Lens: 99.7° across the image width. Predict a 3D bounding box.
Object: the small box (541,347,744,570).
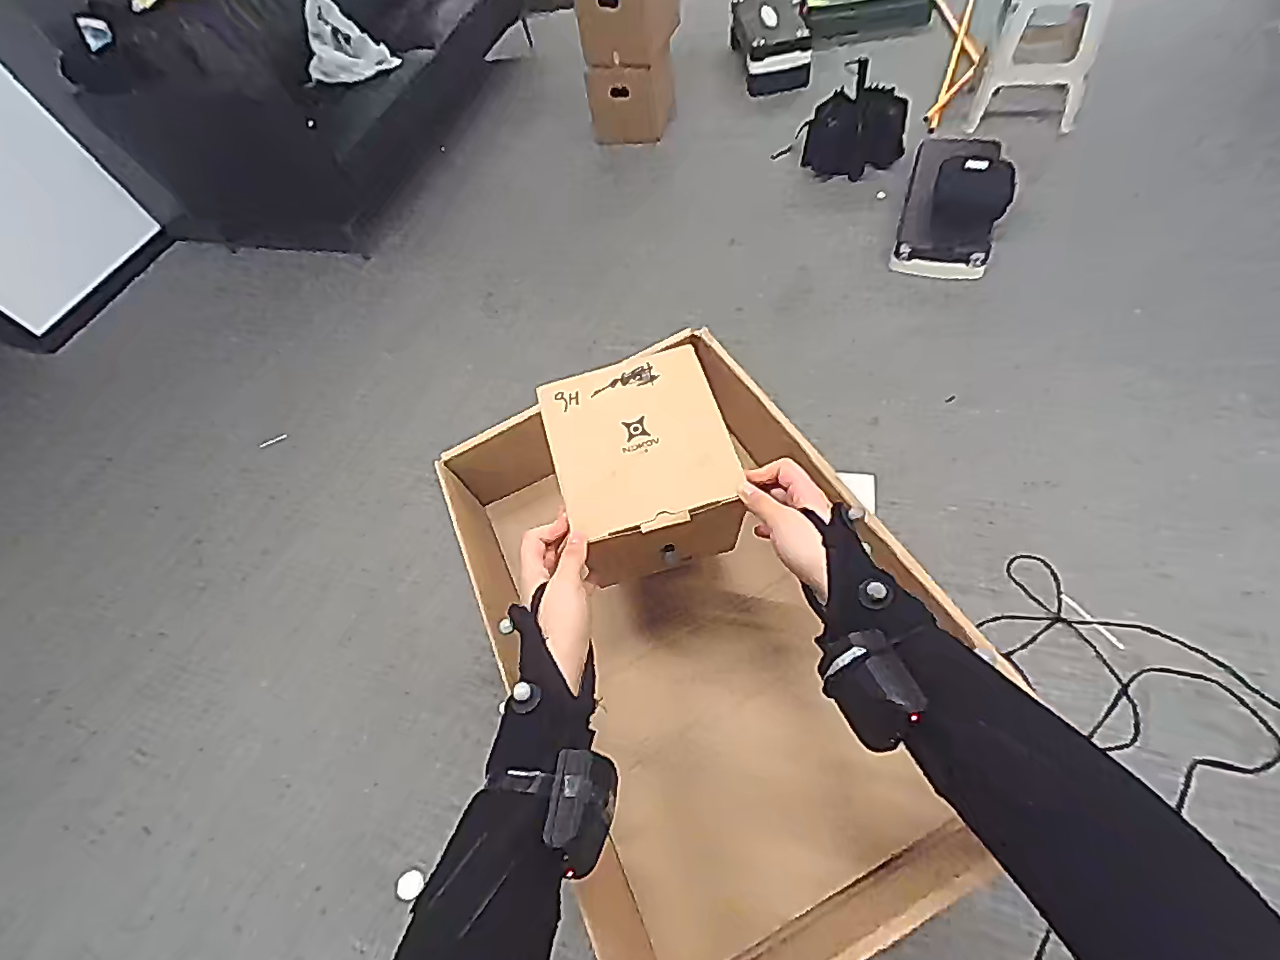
[{"bbox_3d":[0.005,-0.010,0.598,0.168,0.176,0.179,-16,67,-2],"label":"small box"}]
